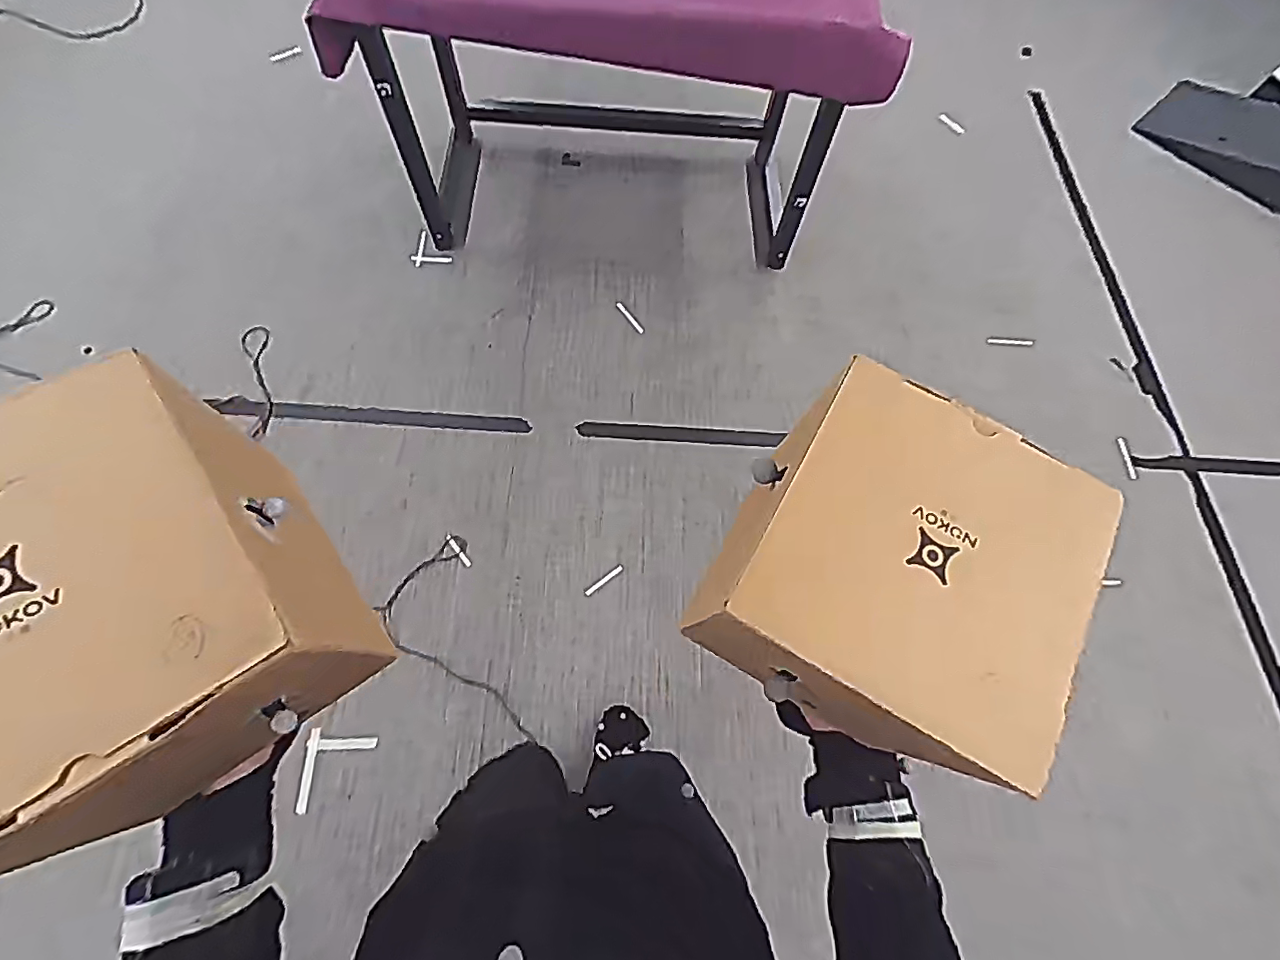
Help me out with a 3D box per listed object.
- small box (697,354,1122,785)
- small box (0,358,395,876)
[{"bbox_3d":[0.151,0.059,0.359,0.168,0.176,0.179,30,71,6],"label":"small box"},{"bbox_3d":[-0.267,0.074,0.299,0.168,0.176,0.179,-34,78,-19],"label":"small box"}]
